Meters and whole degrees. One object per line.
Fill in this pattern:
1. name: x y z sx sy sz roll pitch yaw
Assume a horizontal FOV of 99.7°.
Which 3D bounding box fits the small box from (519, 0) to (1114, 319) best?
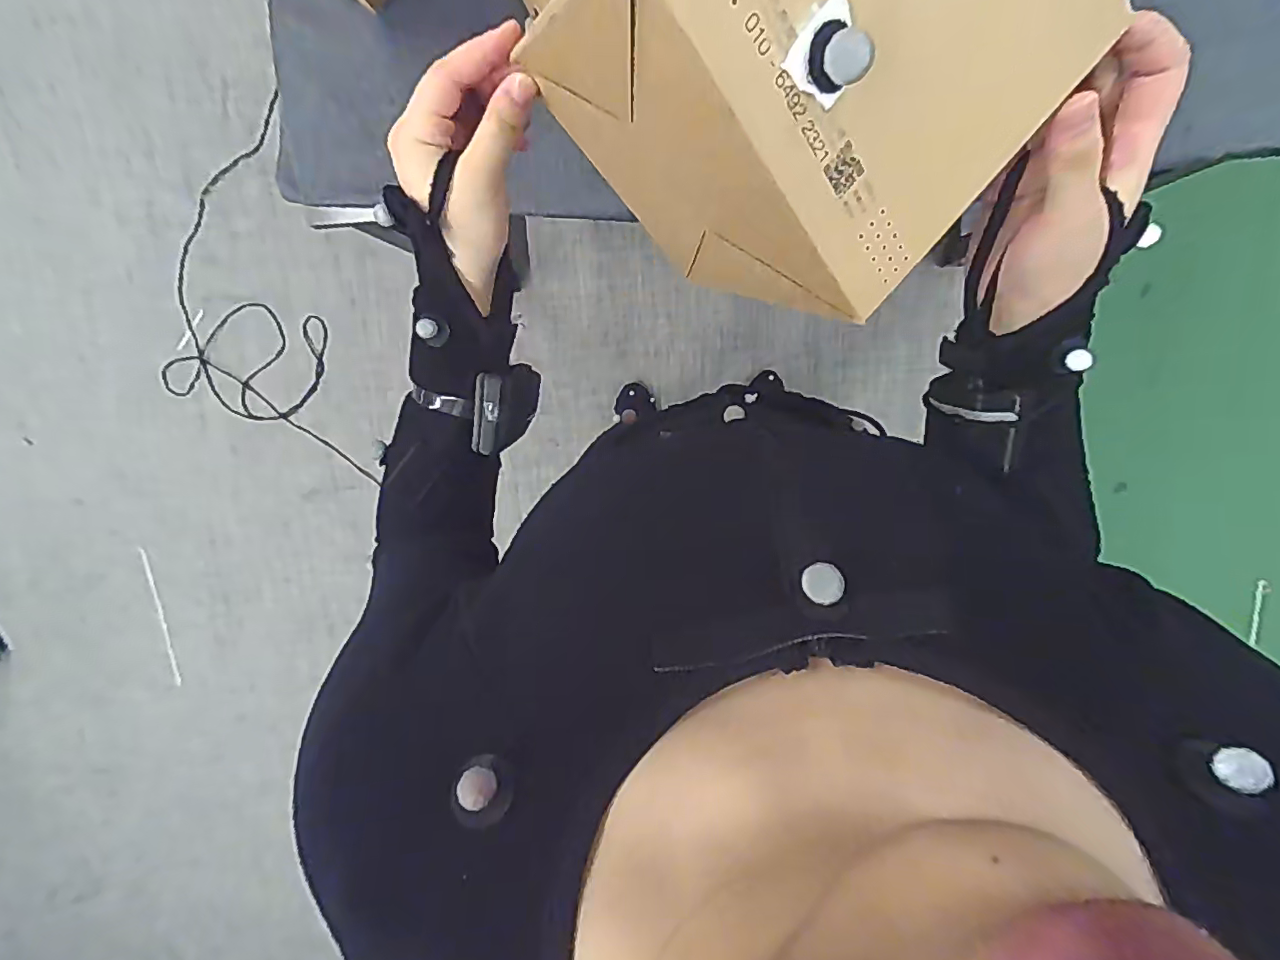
1. small box: 0.063 -0.206 0.261 0.168 0.179 0.176 37 98 -35
